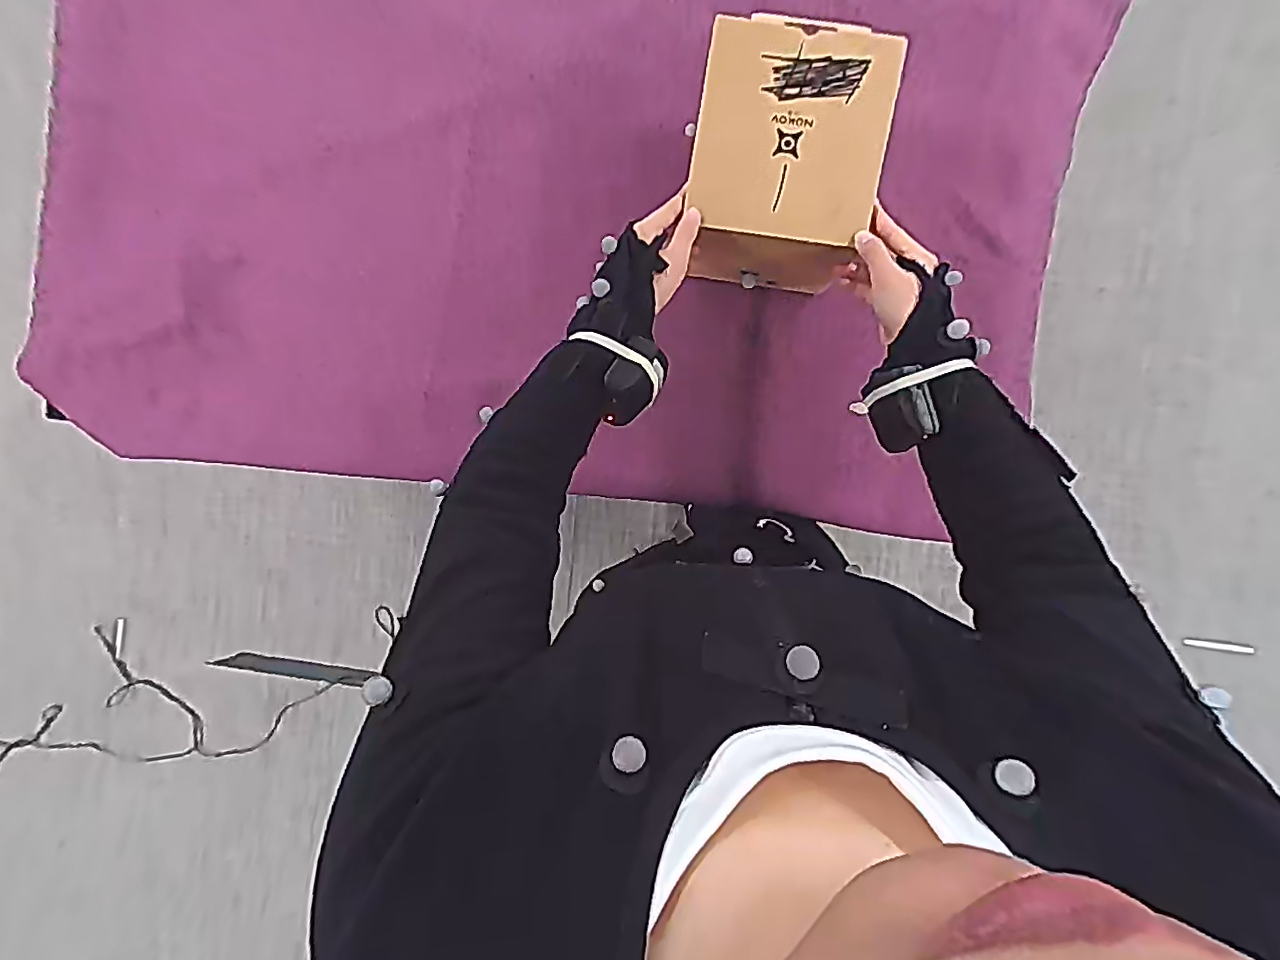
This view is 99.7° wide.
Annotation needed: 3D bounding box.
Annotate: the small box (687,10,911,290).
[{"bbox_3d":[0.141,-0.311,0.546,0.168,0.176,0.179,10,97,4],"label":"small box"}]
